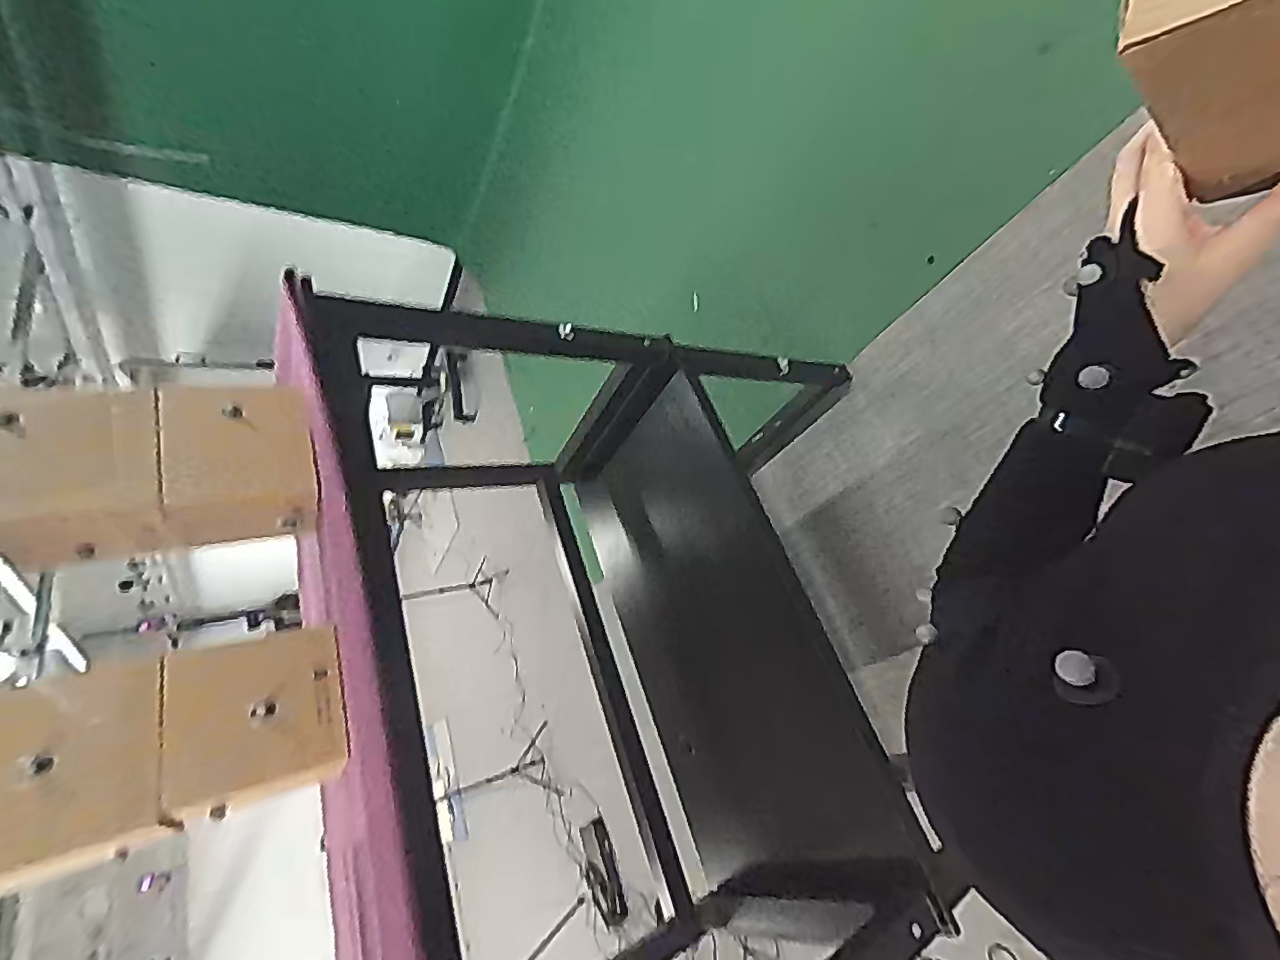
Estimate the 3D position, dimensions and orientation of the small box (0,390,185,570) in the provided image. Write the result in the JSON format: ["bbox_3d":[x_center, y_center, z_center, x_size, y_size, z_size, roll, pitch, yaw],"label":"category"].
[{"bbox_3d":[-0.694,-0.003,0.689,0.168,0.176,0.179,-39,63,52],"label":"small box"}]

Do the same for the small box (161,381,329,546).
[{"bbox_3d":[-0.558,-0.024,0.776,0.168,0.176,0.179,-44,61,50],"label":"small box"}]

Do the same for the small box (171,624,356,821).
[{"bbox_3d":[-0.457,0.293,0.667,0.179,0.176,0.168,-48,55,46],"label":"small box"}]

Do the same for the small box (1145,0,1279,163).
[{"bbox_3d":[0.354,-0.265,0.216,0.179,0.176,0.168,13,95,54],"label":"small box"}]
